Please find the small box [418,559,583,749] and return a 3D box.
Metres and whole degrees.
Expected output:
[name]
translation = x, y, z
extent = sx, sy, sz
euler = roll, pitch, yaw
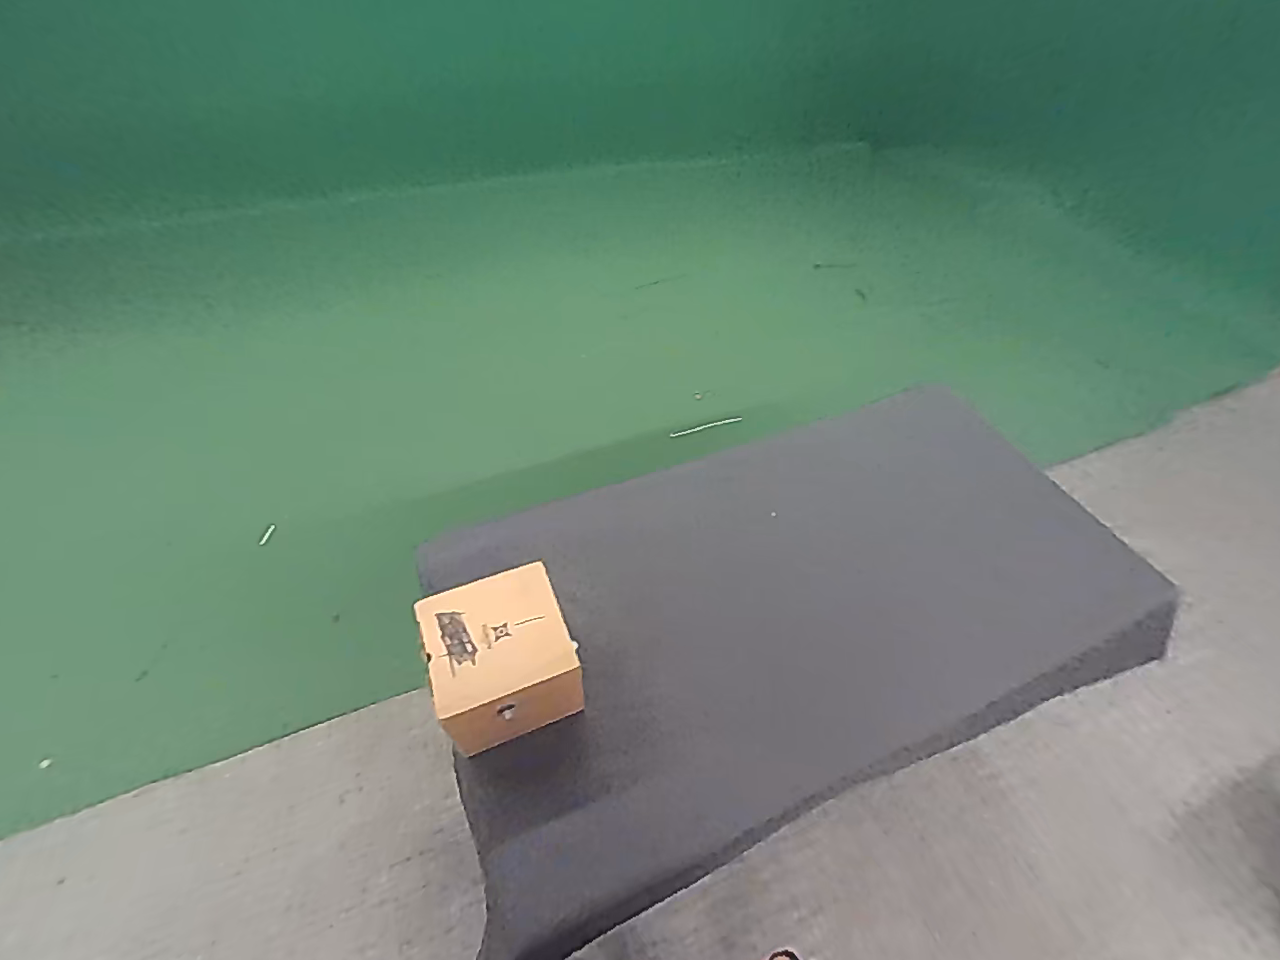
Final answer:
[small box]
translation = -0.183, 0.241, 0.741
extent = 0.179, 0.176, 0.168
euler = -16, 54, -18
